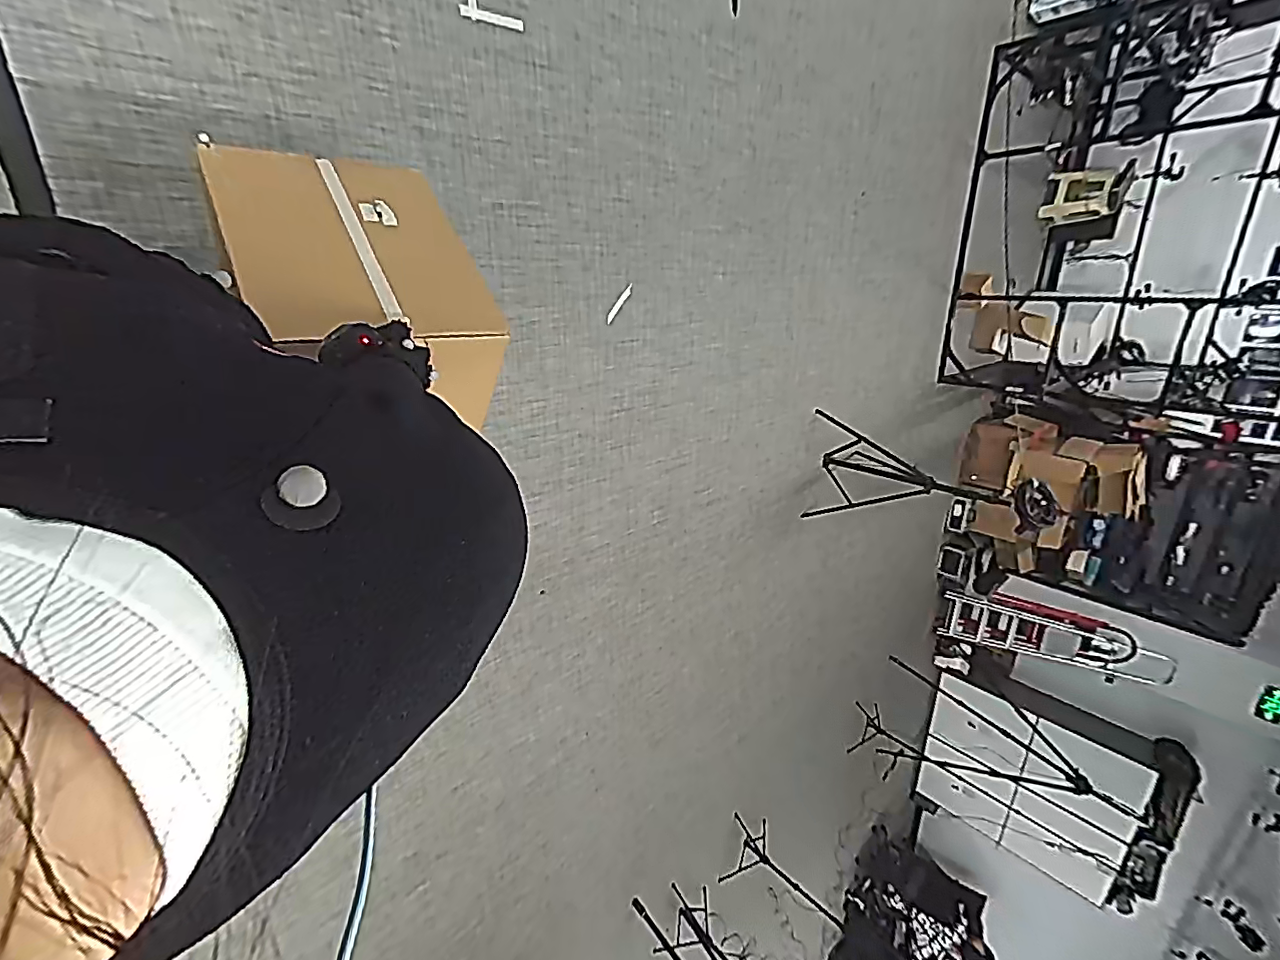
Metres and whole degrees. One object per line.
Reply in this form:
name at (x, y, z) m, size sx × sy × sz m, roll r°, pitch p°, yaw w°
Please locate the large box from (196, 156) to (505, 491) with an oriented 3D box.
large box at (-0.473, -0.250, 0.892) m, size 0.320 × 0.408 × 0.320 m, roll -14°, pitch 152°, yaw -38°
